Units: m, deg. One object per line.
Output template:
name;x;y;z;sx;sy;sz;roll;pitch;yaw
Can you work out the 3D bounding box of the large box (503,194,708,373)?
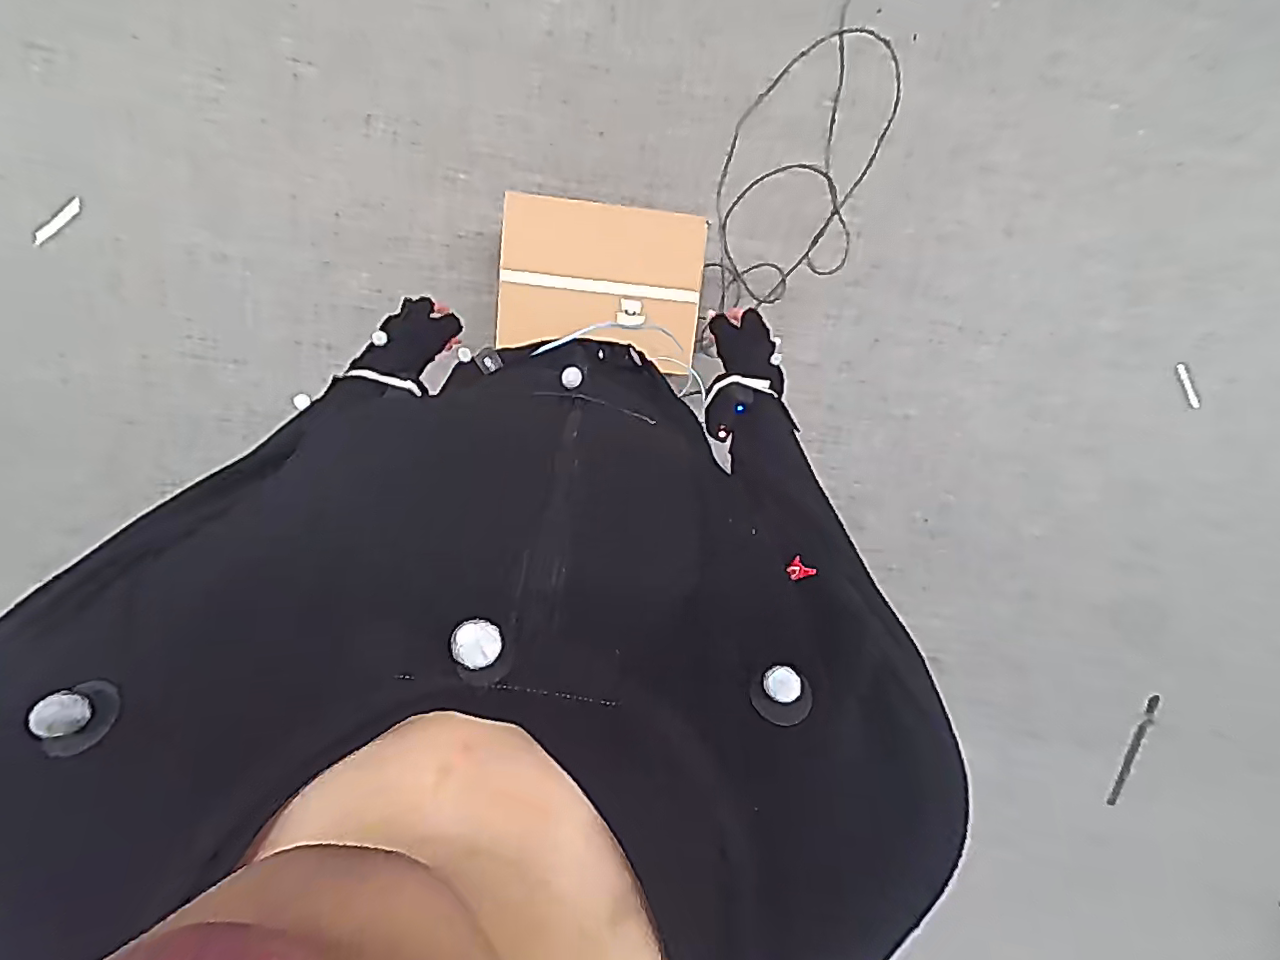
large box;-0.082;-0.424;1.245;0.408;0.320;0.320;6;101;-4
